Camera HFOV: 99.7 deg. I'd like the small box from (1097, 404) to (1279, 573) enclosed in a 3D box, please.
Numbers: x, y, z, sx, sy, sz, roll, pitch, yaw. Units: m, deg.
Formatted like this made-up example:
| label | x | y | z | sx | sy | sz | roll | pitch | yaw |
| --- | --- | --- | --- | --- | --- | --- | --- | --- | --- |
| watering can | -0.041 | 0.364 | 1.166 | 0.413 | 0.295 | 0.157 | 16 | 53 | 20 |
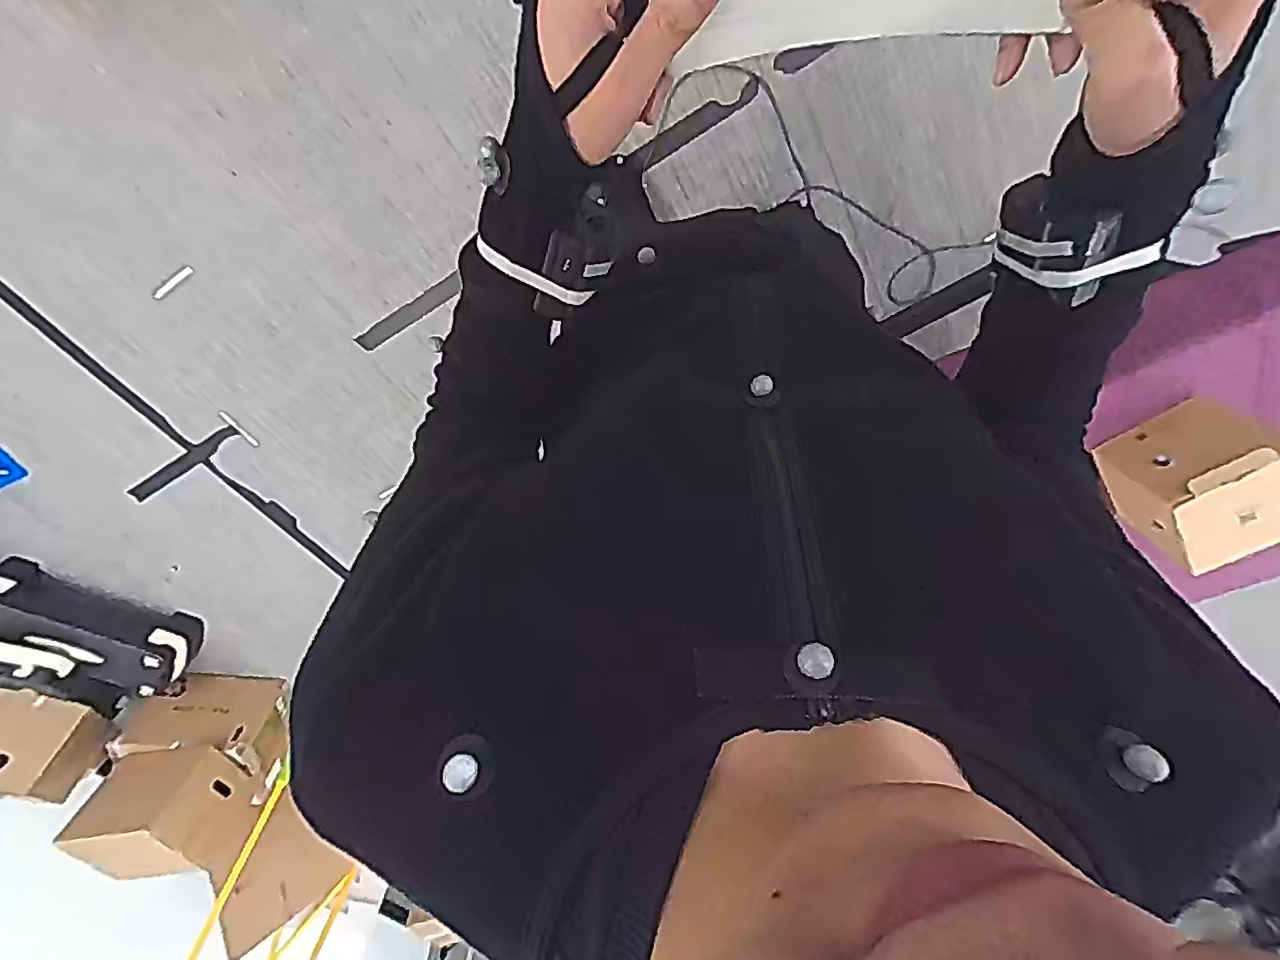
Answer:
| label | x | y | z | sx | sy | sz | roll | pitch | yaw |
| --- | --- | --- | --- | --- | --- | --- | --- | --- | --- |
| small box | 0.871 | 0.004 | 0.844 | 0.168 | 0.176 | 0.179 | -34 | 117 | 20 |
